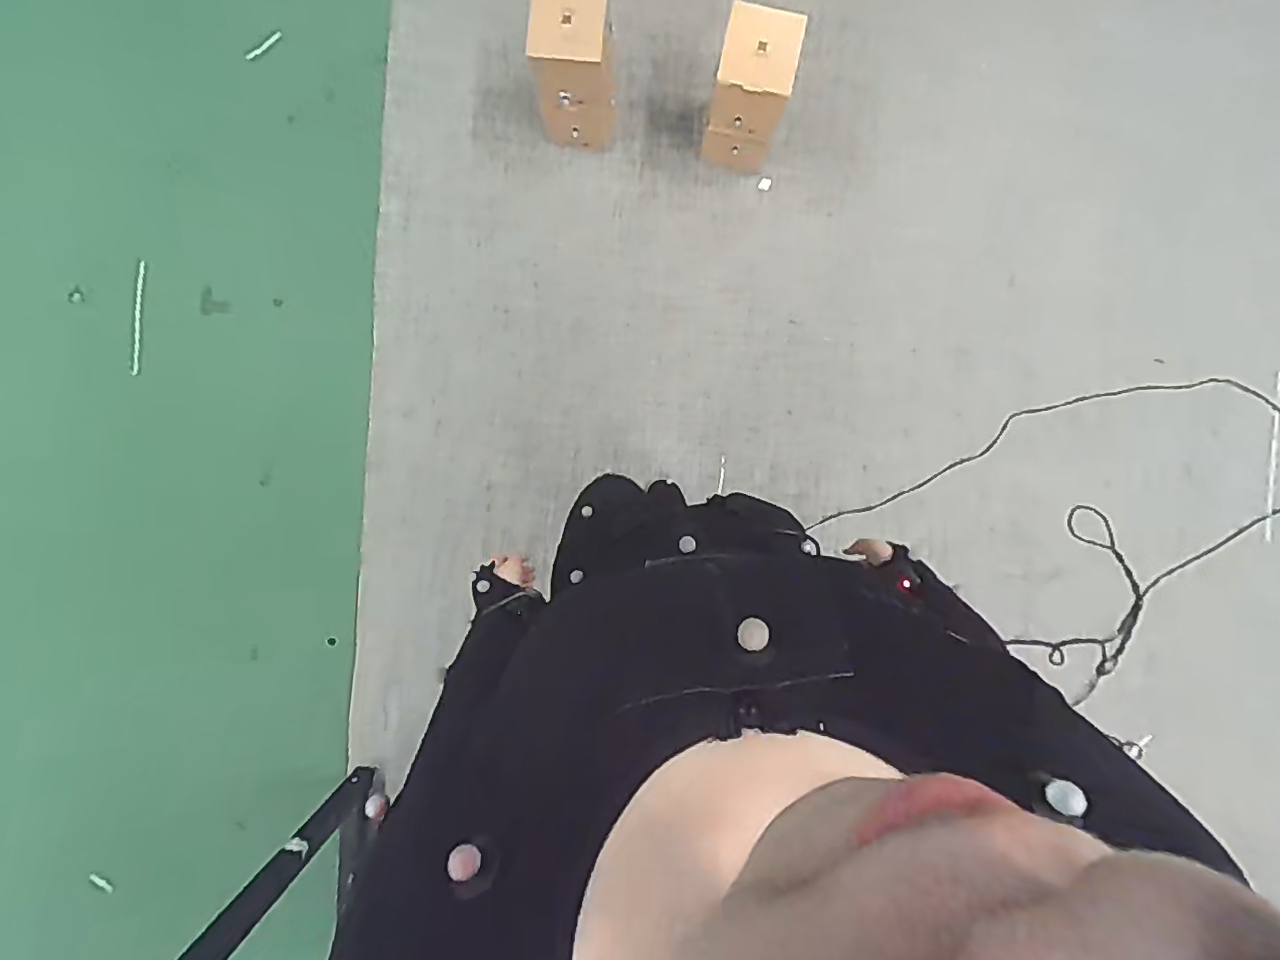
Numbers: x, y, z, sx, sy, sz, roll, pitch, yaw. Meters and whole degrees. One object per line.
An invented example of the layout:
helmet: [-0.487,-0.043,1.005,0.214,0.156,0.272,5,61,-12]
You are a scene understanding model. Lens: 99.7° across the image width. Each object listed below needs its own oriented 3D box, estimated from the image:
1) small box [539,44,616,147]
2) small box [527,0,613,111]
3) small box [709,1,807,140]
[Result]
small box: [-0.155,-1.002,1.401,0.168,0.176,0.179,9,93,0]
small box: [-0.153,-0.994,1.238,0.168,0.176,0.179,5,93,1]
small box: [0.261,-0.927,1.238,0.168,0.176,0.179,12,93,0]
